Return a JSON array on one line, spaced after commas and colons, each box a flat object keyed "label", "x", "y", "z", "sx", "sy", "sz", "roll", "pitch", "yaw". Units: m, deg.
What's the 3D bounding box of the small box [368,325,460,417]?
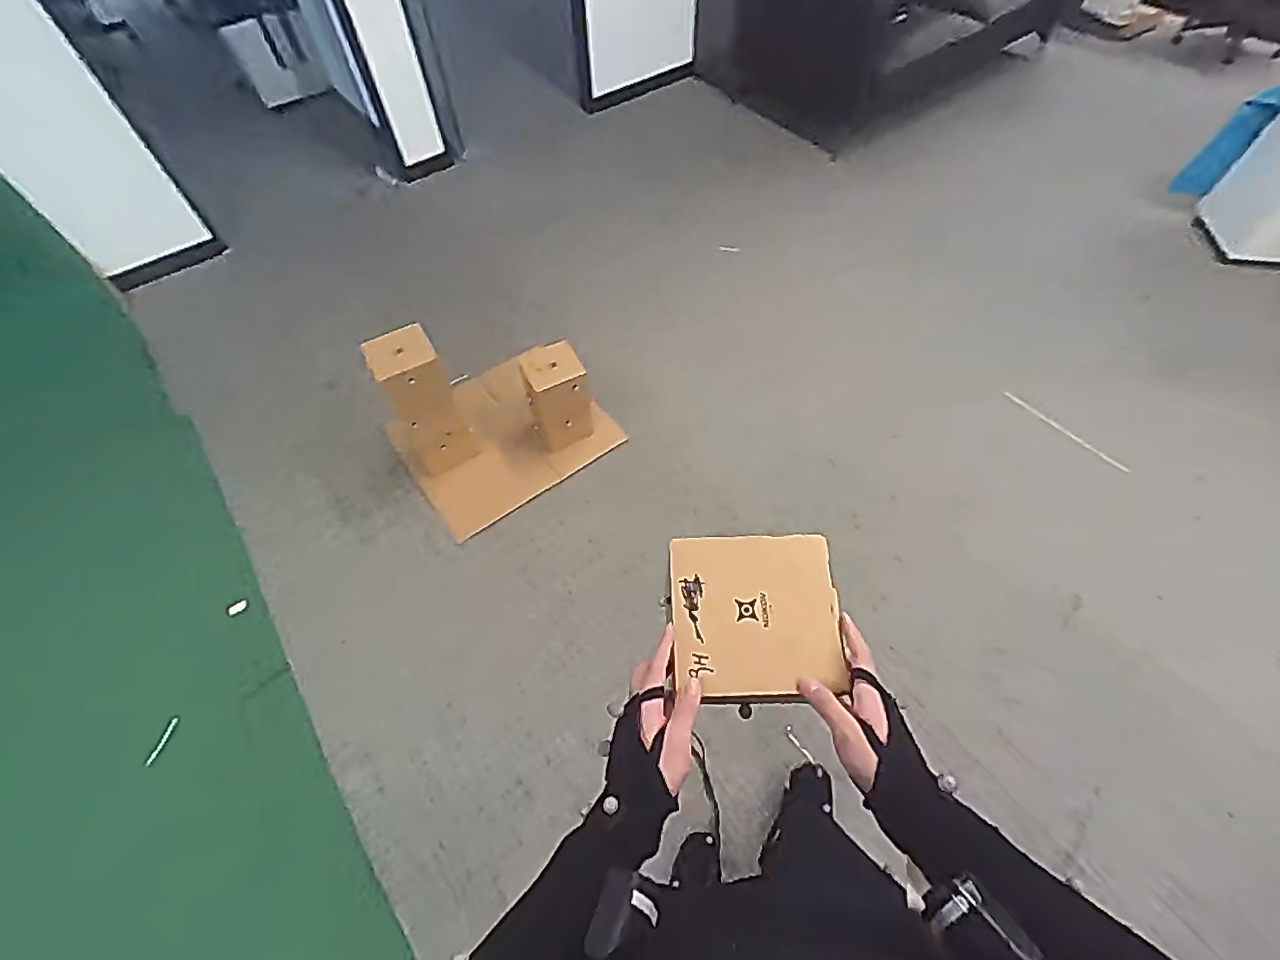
[{"label": "small box", "x": -0.660, "y": -0.316, "z": 1.593, "sx": 0.179, "sy": 0.176, "sz": 0.168, "roll": -27, "pitch": 62, "yaw": -15}]

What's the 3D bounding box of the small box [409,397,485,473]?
[{"label": "small box", "x": -0.666, "y": -0.153, "z": 1.877, "sx": 0.179, "sy": 0.176, "sz": 0.168, "roll": -29, "pitch": 62, "yaw": -16}]

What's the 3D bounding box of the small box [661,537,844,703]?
[{"label": "small box", "x": 0.117, "y": 0.171, "z": 0.642, "sx": 0.179, "sy": 0.176, "sz": 0.168, "roll": -1, "pitch": 65, "yaw": 1}]

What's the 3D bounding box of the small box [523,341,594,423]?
[{"label": "small box", "x": -0.261, "y": -0.319, "z": 1.778, "sx": 0.179, "sy": 0.176, "sz": 0.168, "roll": -25, "pitch": 60, "yaw": -12}]

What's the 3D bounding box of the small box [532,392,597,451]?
[{"label": "small box", "x": -0.261, "y": -0.238, "z": 1.922, "sx": 0.179, "sy": 0.176, "sz": 0.168, "roll": -28, "pitch": 61, "yaw": -15}]
